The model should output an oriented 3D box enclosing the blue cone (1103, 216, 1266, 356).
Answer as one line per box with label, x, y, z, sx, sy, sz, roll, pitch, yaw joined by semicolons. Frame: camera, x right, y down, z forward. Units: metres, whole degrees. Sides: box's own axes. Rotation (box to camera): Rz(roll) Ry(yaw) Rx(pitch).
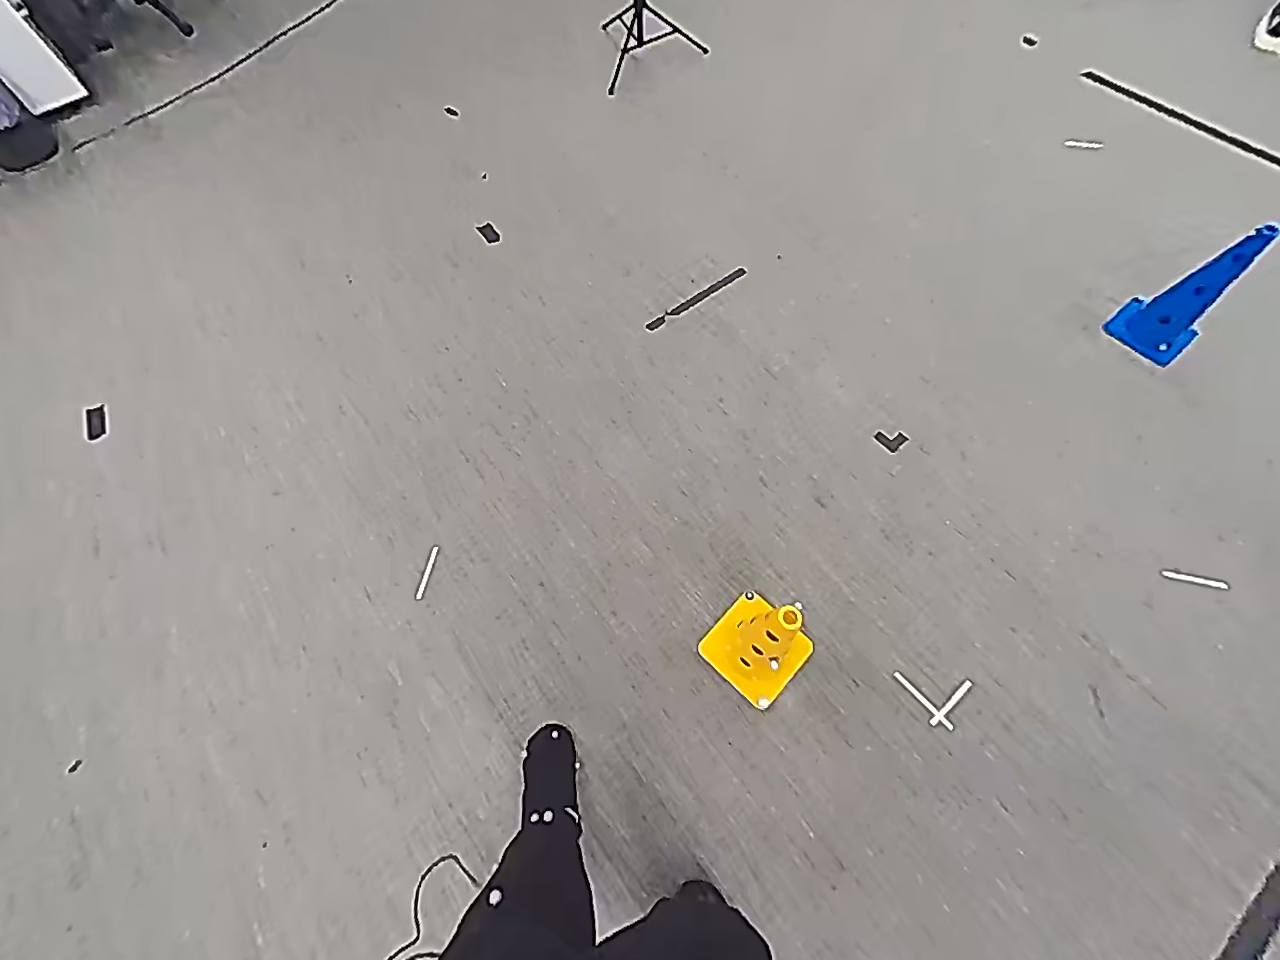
blue cone;1.501;-0.532;1.460;0.193;0.380;0.192;-36;67;-15
